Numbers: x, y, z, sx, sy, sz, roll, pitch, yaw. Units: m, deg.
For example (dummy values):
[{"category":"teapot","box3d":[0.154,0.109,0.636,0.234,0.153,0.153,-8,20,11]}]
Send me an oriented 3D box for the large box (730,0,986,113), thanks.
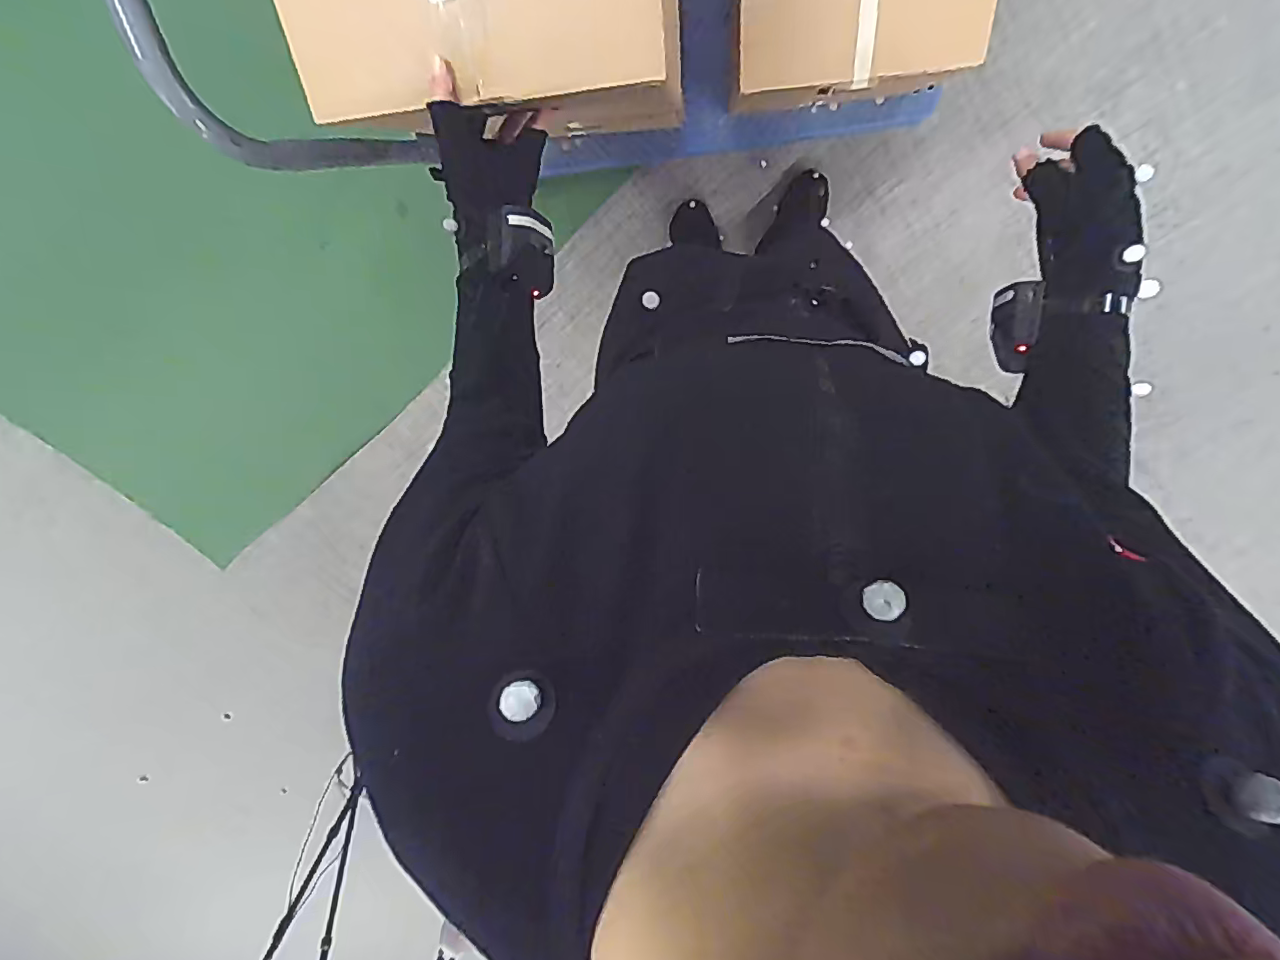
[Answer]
[{"category":"large box","box3d":[0.281,-0.780,0.751,0.320,0.320,0.408,-1,119,8]}]
